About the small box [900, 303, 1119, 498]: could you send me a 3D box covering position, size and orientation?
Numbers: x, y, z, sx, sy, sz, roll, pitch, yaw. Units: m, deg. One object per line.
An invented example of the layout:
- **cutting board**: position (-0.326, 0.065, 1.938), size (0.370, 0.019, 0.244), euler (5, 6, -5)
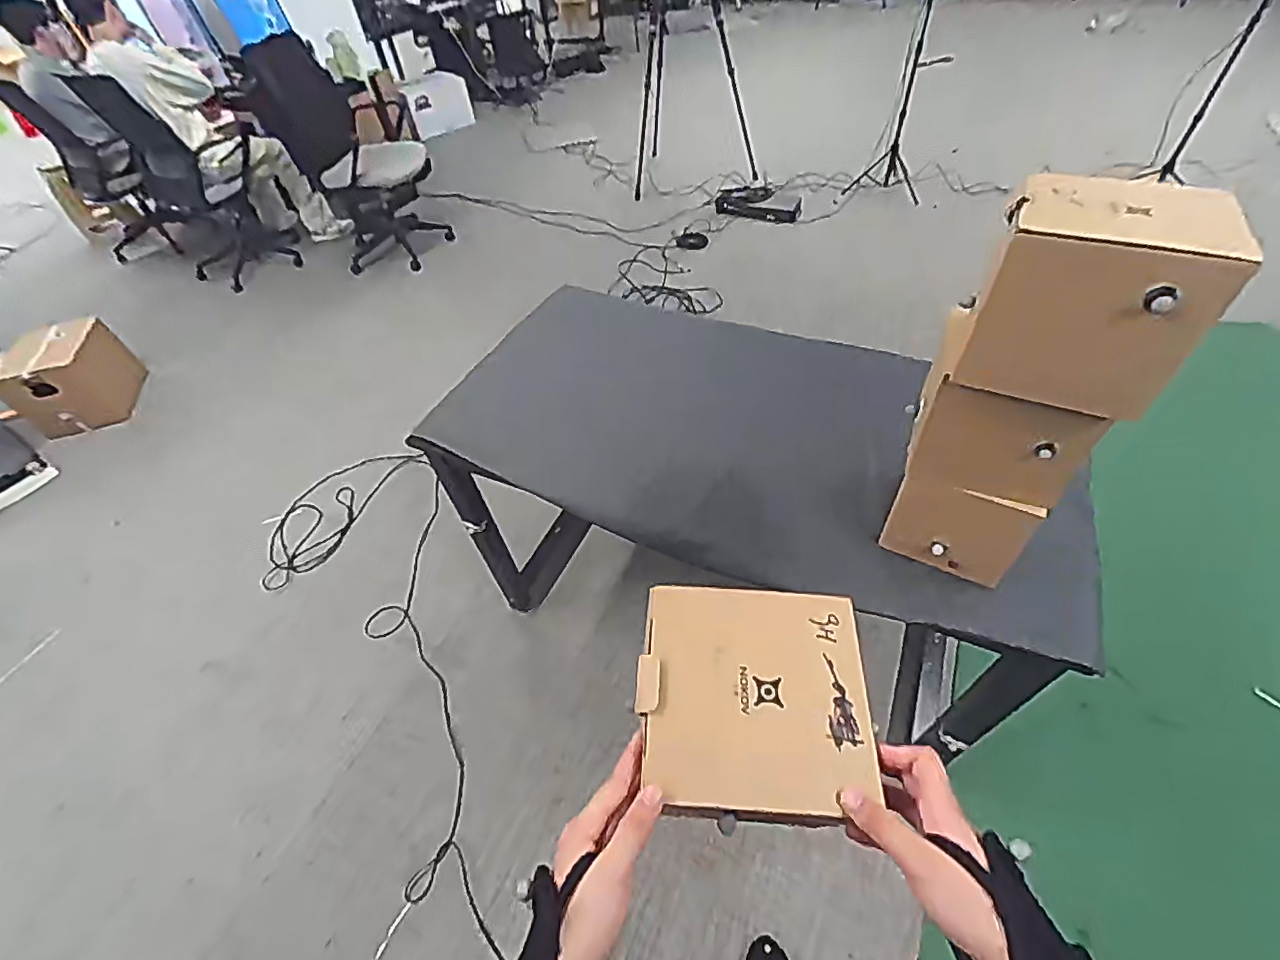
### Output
- **small box**: position (0.453, -0.100, 0.687), size (0.179, 0.176, 0.168), euler (15, 49, 21)

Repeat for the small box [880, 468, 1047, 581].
- **small box**: position (0.475, 0.014, 0.801), size (0.168, 0.176, 0.179), euler (22, 53, 25)

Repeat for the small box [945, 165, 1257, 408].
- **small box**: position (0.443, -0.195, 0.550), size (0.179, 0.176, 0.168), euler (19, 50, 23)
